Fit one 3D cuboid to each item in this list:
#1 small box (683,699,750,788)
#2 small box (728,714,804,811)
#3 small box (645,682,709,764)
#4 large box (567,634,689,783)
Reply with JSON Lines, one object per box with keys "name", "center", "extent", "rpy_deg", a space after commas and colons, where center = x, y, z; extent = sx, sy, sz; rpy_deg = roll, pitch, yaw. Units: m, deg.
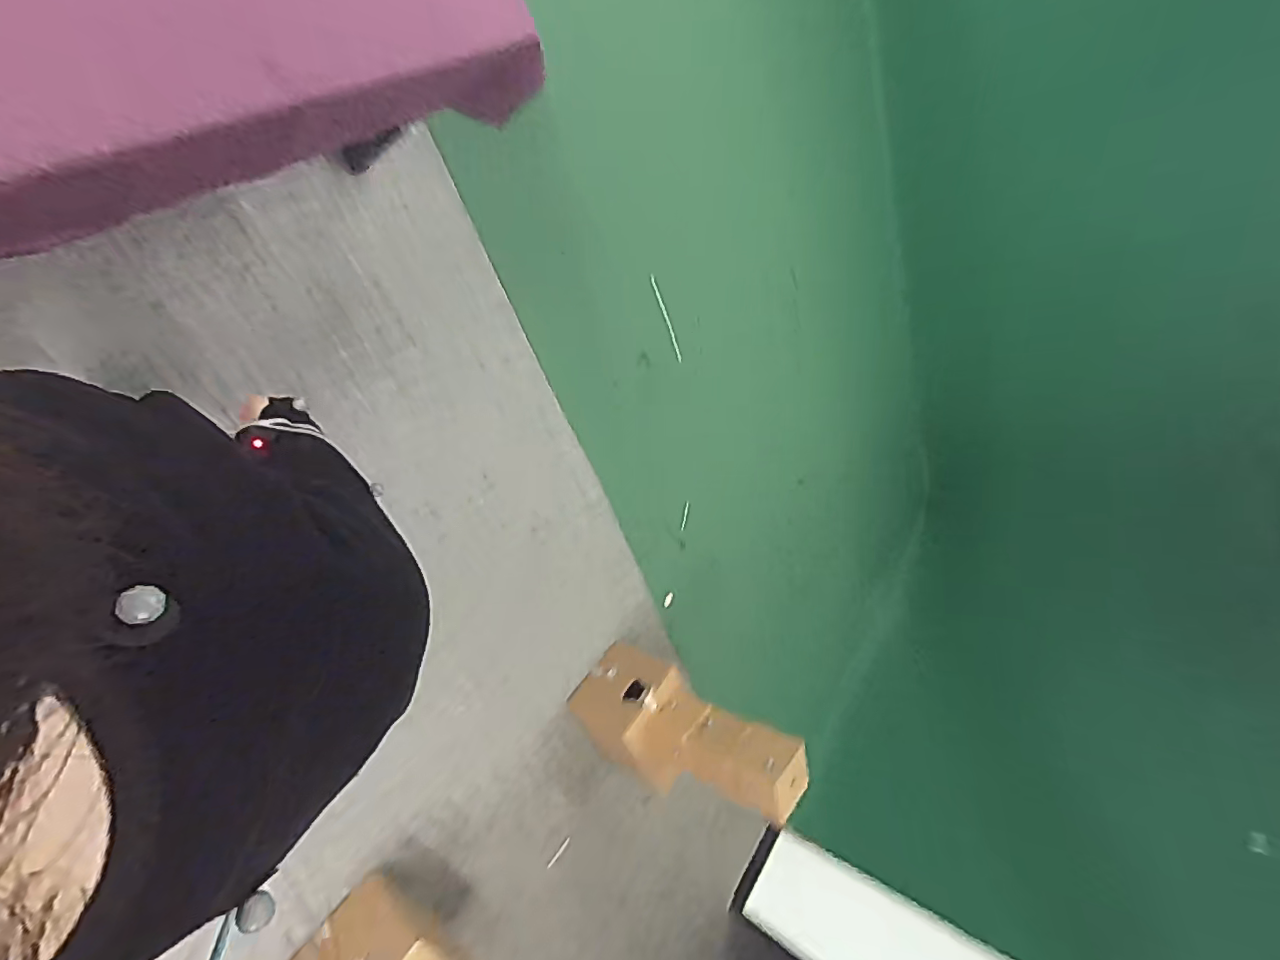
{"name": "small box", "center": [0.267, 0.870, 1.805], "extent": [0.168, 0.176, 0.179], "rpy_deg": [-31, 115, -41]}
{"name": "small box", "center": [0.390, 0.876, 1.695], "extent": [0.179, 0.176, 0.168], "rpy_deg": [-30, 116, -41]}
{"name": "small box", "center": [0.144, 0.851, 1.910], "extent": [0.168, 0.176, 0.179], "rpy_deg": [-34, 118, -38]}
{"name": "large box", "center": [-0.014, 0.873, 2.099], "extent": [0.320, 0.320, 0.408], "rpy_deg": [-45, 126, -32]}
